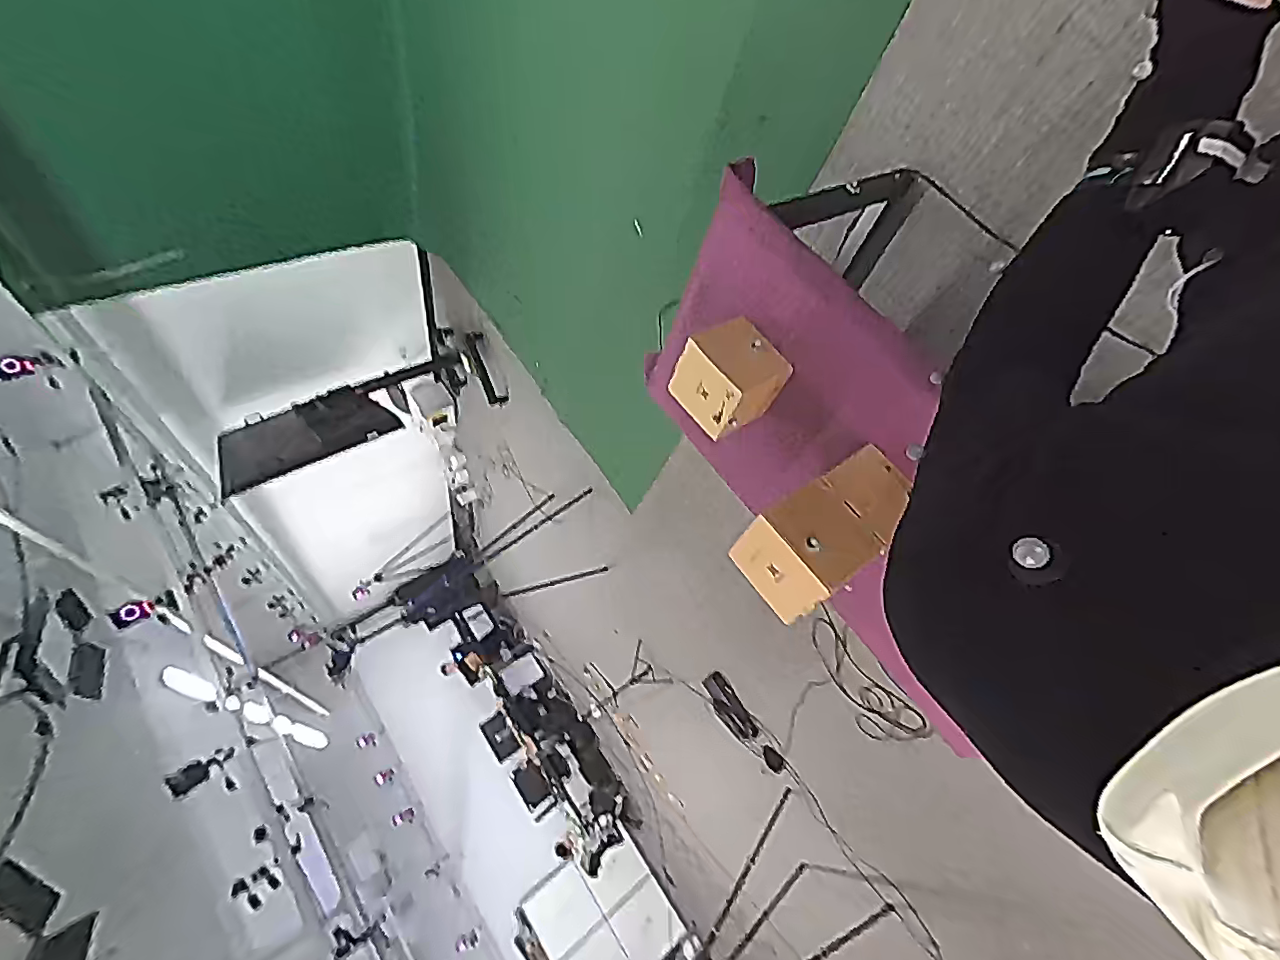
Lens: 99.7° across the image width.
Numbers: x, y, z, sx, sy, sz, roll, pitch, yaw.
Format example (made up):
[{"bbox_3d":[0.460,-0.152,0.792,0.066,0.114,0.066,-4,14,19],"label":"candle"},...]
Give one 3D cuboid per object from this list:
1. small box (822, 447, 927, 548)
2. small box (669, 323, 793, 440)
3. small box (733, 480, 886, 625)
[{"bbox_3d":[0.436,0.062,1.082,0.168,0.176,0.179,50,150,19],"label":"small box"},{"bbox_3d":[0.199,-0.226,1.200,0.179,0.176,0.168,51,150,17],"label":"small box"},{"bbox_3d":[0.312,0.131,1.001,0.179,0.176,0.168,51,149,19],"label":"small box"}]
